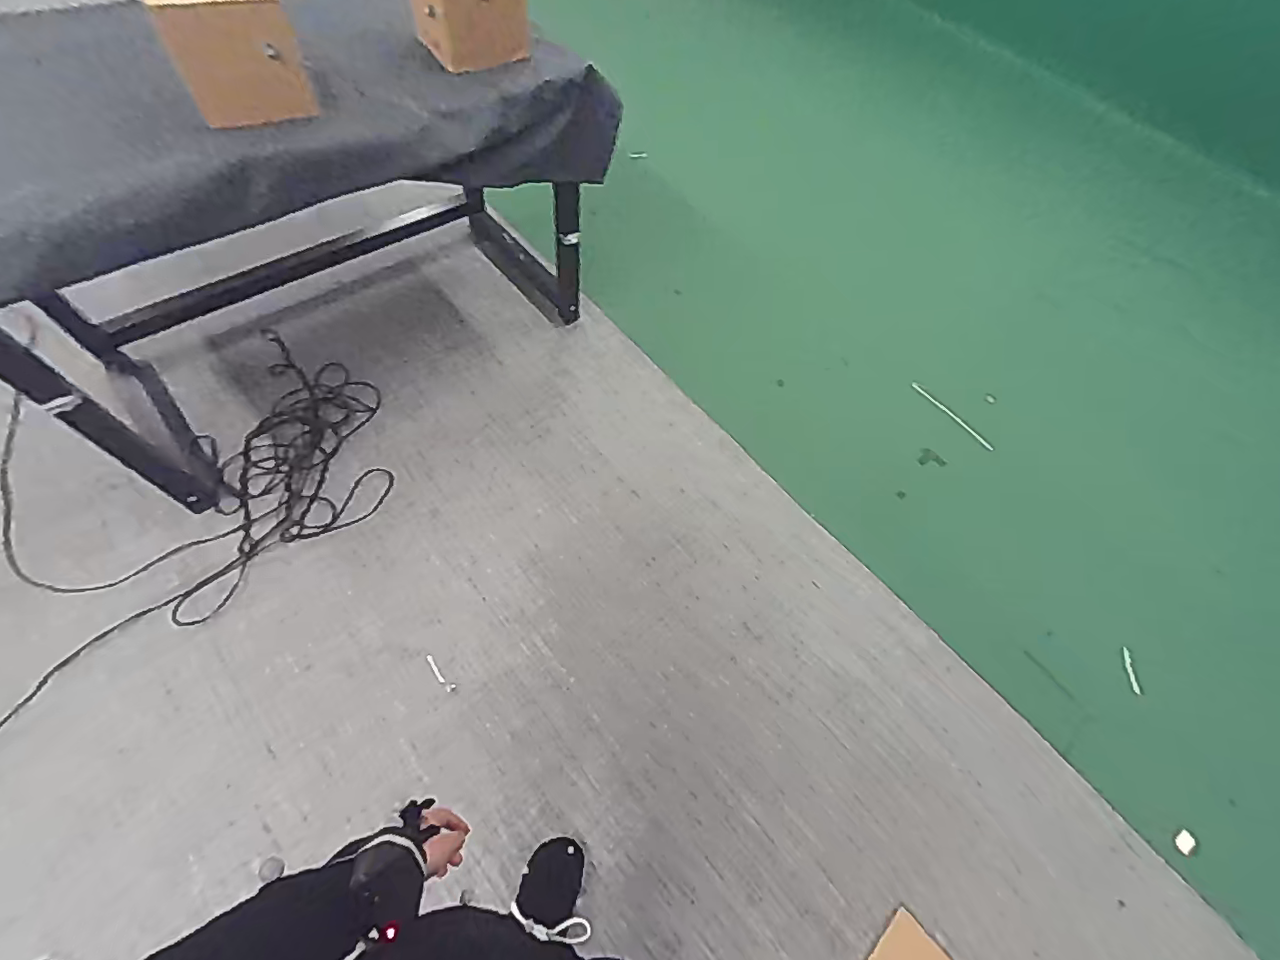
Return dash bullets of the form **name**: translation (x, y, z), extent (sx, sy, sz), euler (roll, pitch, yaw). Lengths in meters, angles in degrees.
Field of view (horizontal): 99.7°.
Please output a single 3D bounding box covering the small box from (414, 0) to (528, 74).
- **small box**: translation (-0.335, -0.932, 1.058), extent (0.179, 0.176, 0.168), euler (-29, 69, -21)
